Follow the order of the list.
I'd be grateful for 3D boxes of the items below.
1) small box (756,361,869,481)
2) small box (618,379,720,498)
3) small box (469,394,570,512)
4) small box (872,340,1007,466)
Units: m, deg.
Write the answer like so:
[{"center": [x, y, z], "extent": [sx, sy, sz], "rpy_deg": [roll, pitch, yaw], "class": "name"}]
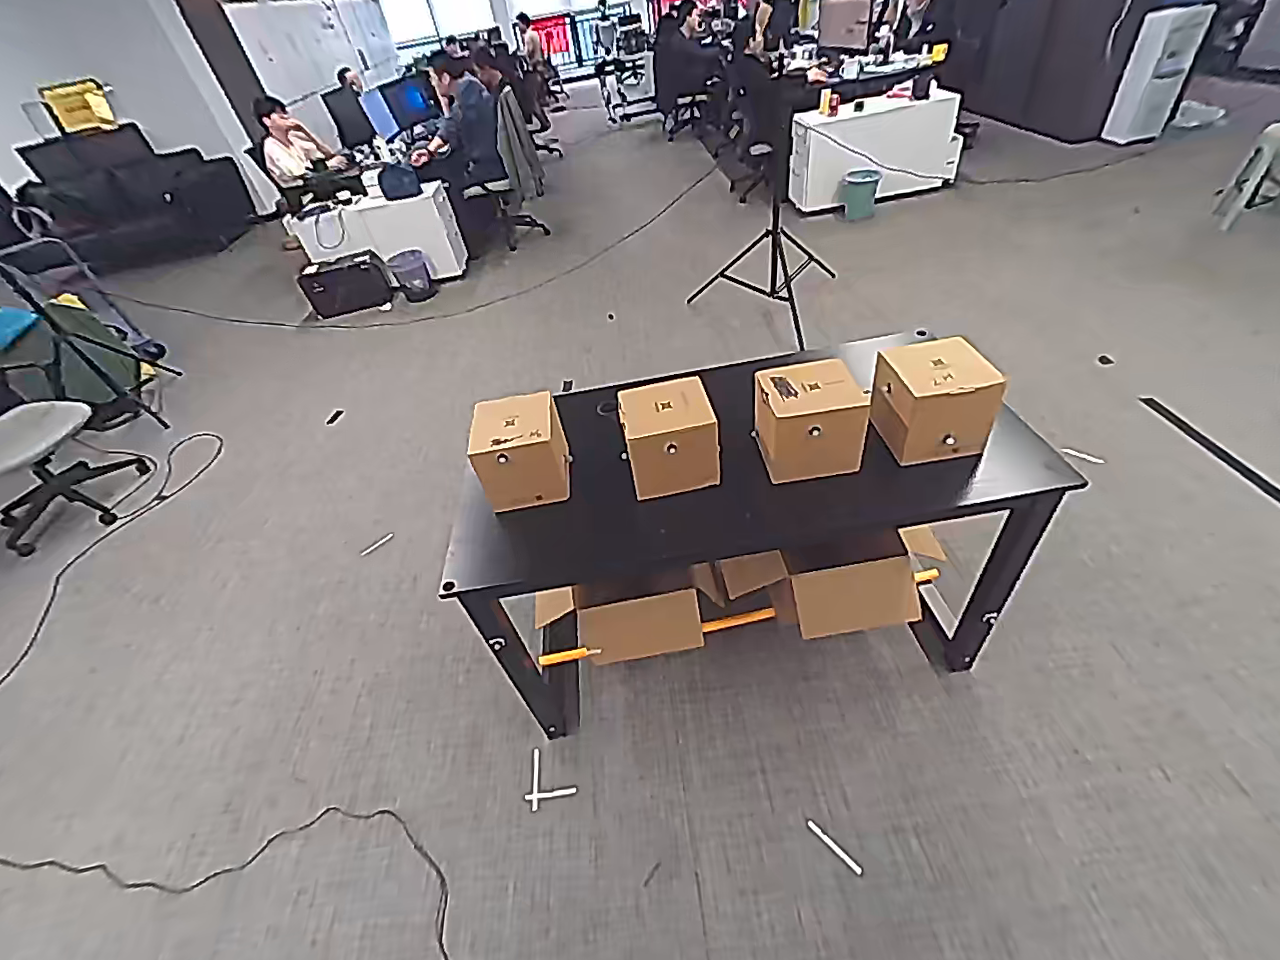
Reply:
[{"center": [0.337, -0.113, 1.087], "extent": [0.179, 0.176, 0.168], "rpy_deg": [-8, 42, 3], "class": "small box"}, {"center": [0.060, -0.082, 1.116], "extent": [0.179, 0.176, 0.168], "rpy_deg": [-11, 43, -1], "class": "small box"}, {"center": [-0.248, -0.057, 1.152], "extent": [0.168, 0.176, 0.179], "rpy_deg": [-10, 42, 1], "class": "small box"}, {"center": [0.579, -0.152, 1.075], "extent": [0.168, 0.176, 0.179], "rpy_deg": [-10, 42, 4], "class": "small box"}]
